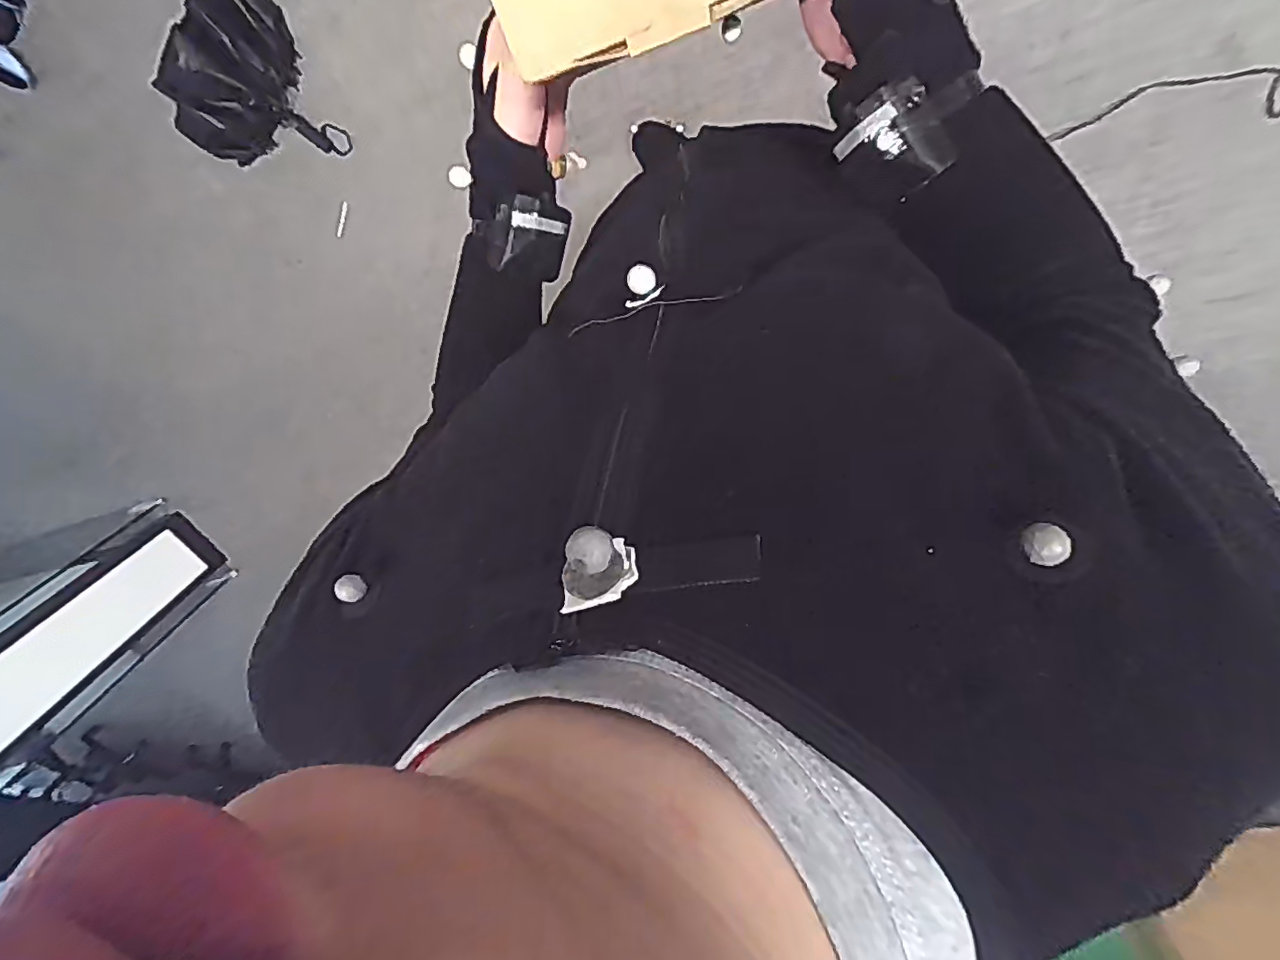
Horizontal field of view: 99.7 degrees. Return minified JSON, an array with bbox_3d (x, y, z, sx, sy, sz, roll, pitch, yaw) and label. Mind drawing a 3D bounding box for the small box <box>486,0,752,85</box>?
[{"bbox_3d":[-0.010,-0.348,0.292,0.168,0.176,0.179,-12,126,14],"label":"small box"}]
